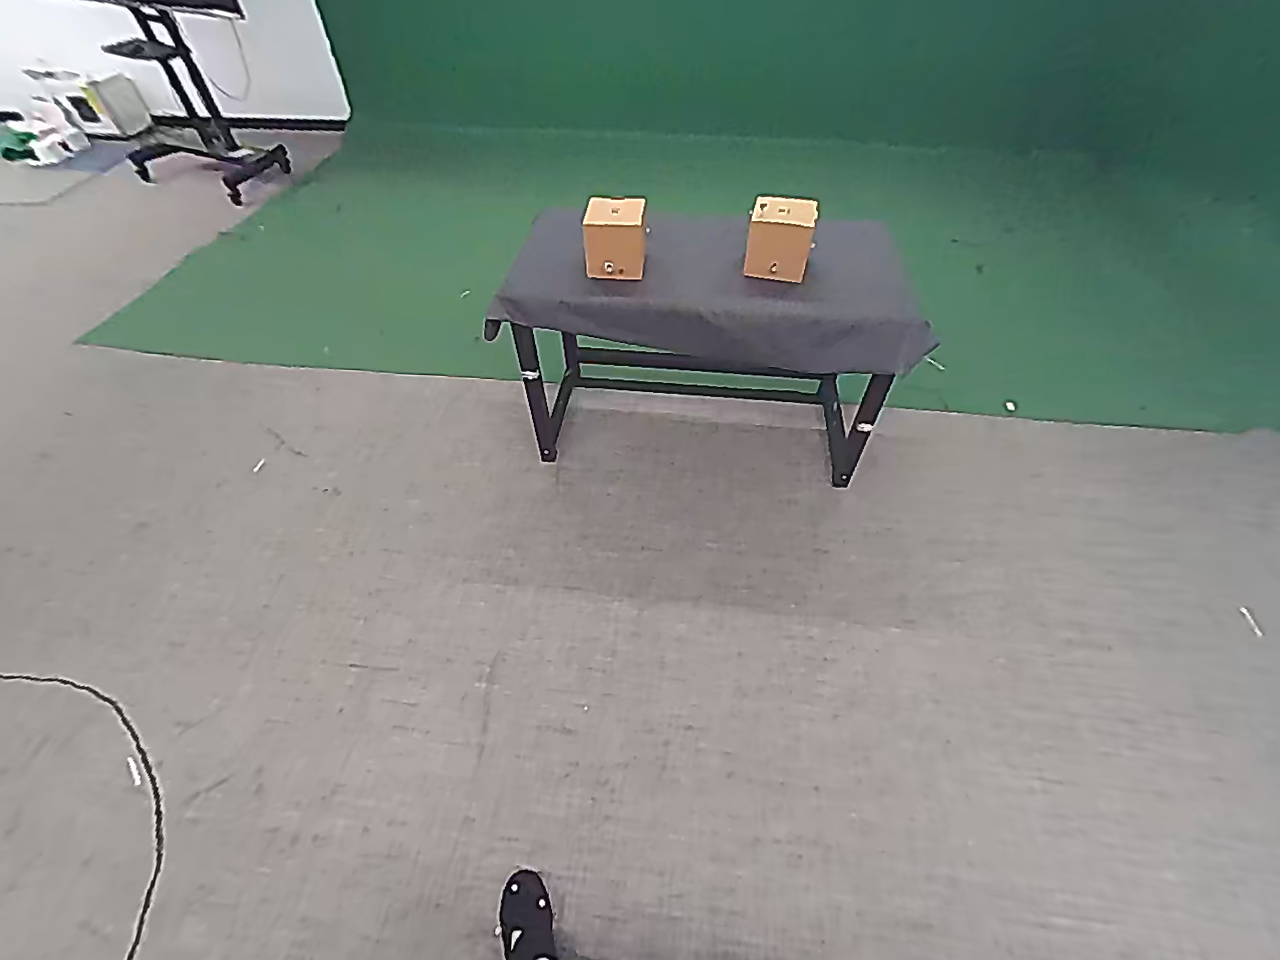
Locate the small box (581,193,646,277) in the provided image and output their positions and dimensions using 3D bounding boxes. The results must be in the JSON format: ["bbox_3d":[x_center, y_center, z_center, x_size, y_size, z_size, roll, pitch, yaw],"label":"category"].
[{"bbox_3d":[-0.071,-0.725,1.598,0.168,0.176,0.179,3,50,6],"label":"small box"}]

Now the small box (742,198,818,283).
[{"bbox_3d":[0.412,-0.705,1.599,0.179,0.176,0.168,12,51,10],"label":"small box"}]
